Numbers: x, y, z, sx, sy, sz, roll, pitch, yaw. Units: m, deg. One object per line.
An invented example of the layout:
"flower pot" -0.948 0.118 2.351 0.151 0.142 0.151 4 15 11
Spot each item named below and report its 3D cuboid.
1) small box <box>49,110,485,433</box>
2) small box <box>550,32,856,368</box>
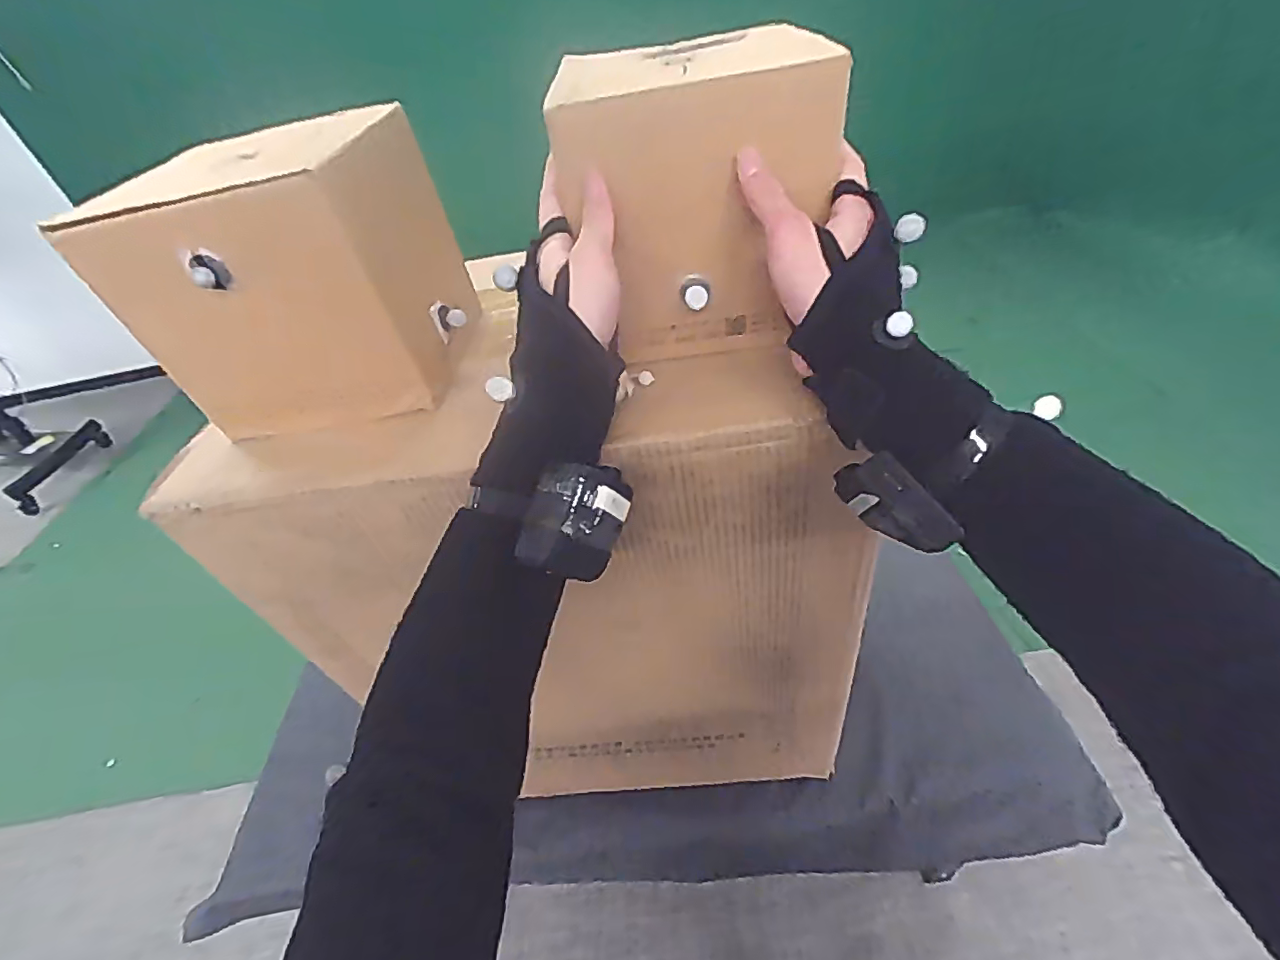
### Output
"small box" -0.243 -0.151 0.412 0.179 0.176 0.168 -7 45 6
"small box" 0.039 -0.205 0.400 0.168 0.176 0.179 -7 45 4
